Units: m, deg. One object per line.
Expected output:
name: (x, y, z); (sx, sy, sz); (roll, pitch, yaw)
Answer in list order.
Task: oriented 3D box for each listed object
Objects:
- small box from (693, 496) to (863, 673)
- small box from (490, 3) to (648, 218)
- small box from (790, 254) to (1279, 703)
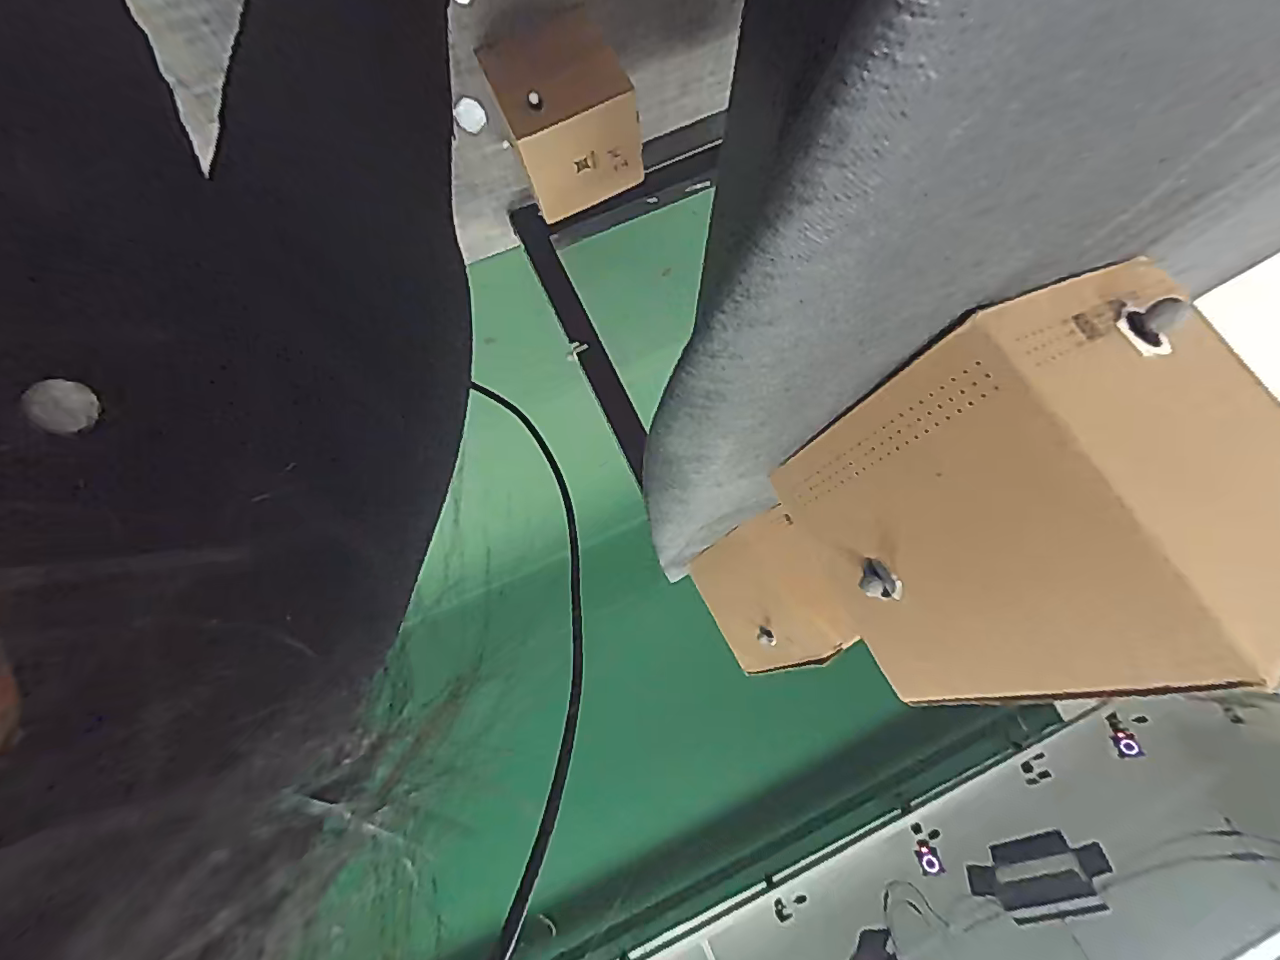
small box: (0.193, 0.121, 0.687); (0.168, 0.176, 0.179); (-21, 165, -26)
small box: (-0.104, -0.540, 0.801); (0.179, 0.176, 0.168); (-25, 167, -1)
small box: (0.214, 0.006, 0.309); (0.168, 0.176, 0.179); (-22, 165, -25)
